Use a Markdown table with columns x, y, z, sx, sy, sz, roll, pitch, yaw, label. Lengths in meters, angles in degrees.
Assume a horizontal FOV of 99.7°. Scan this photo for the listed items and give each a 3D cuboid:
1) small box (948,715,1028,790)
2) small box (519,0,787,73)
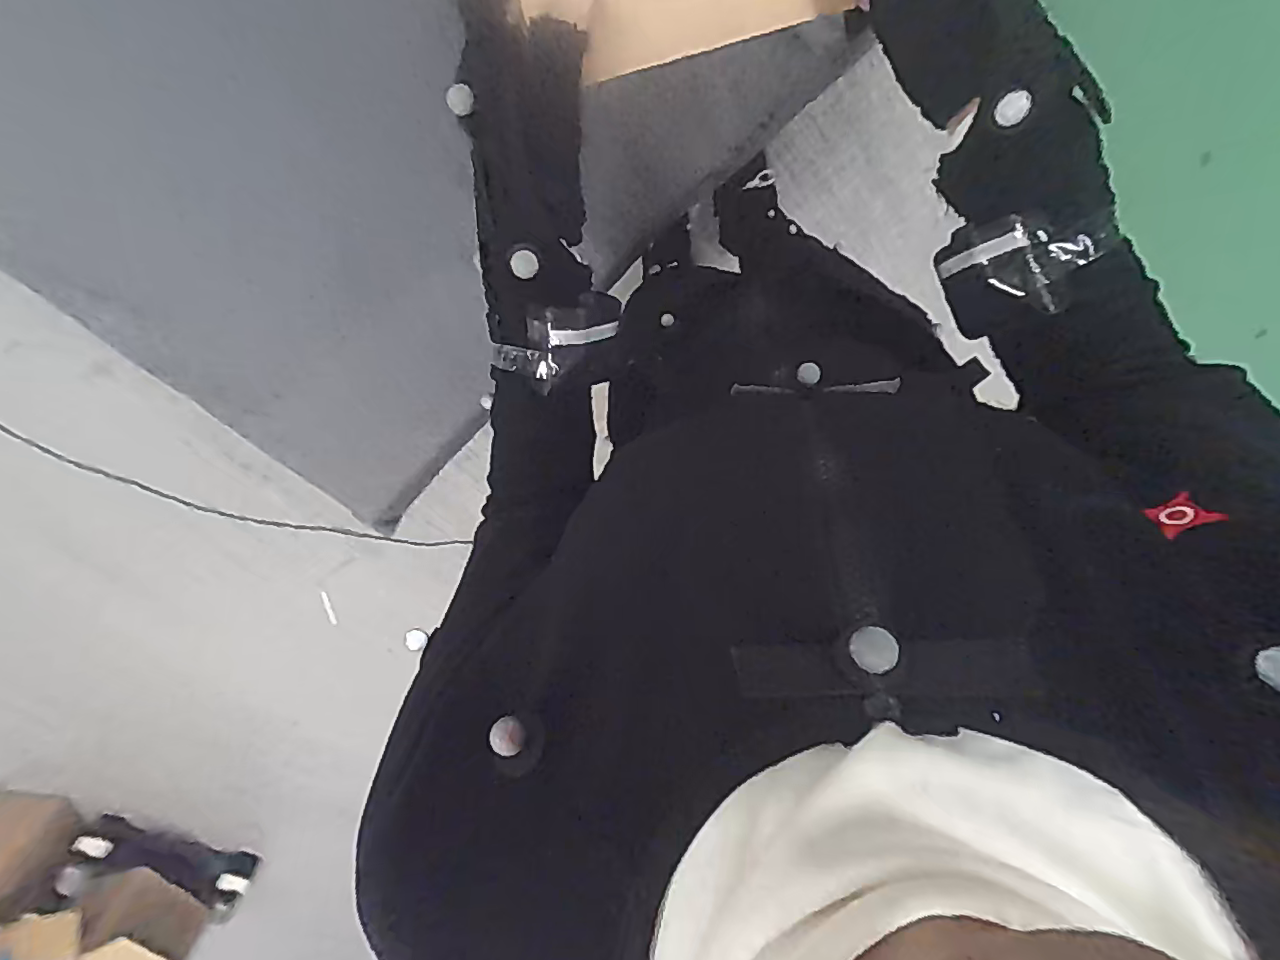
| x | y | z | sx | sy | sz | roll | pitch | yaw | label |
| --- | --- | --- | --- | --- | --- | --- | --- | --- | --- |
| 1.278 | 0.996 | 1.994 | 0.168 | 0.176 | 0.179 | -32 | 116 | 16 | small box |
| 0.007 | -0.351 | 0.293 | 0.179 | 0.176 | 0.168 | -13 | 132 | 7 | small box |
